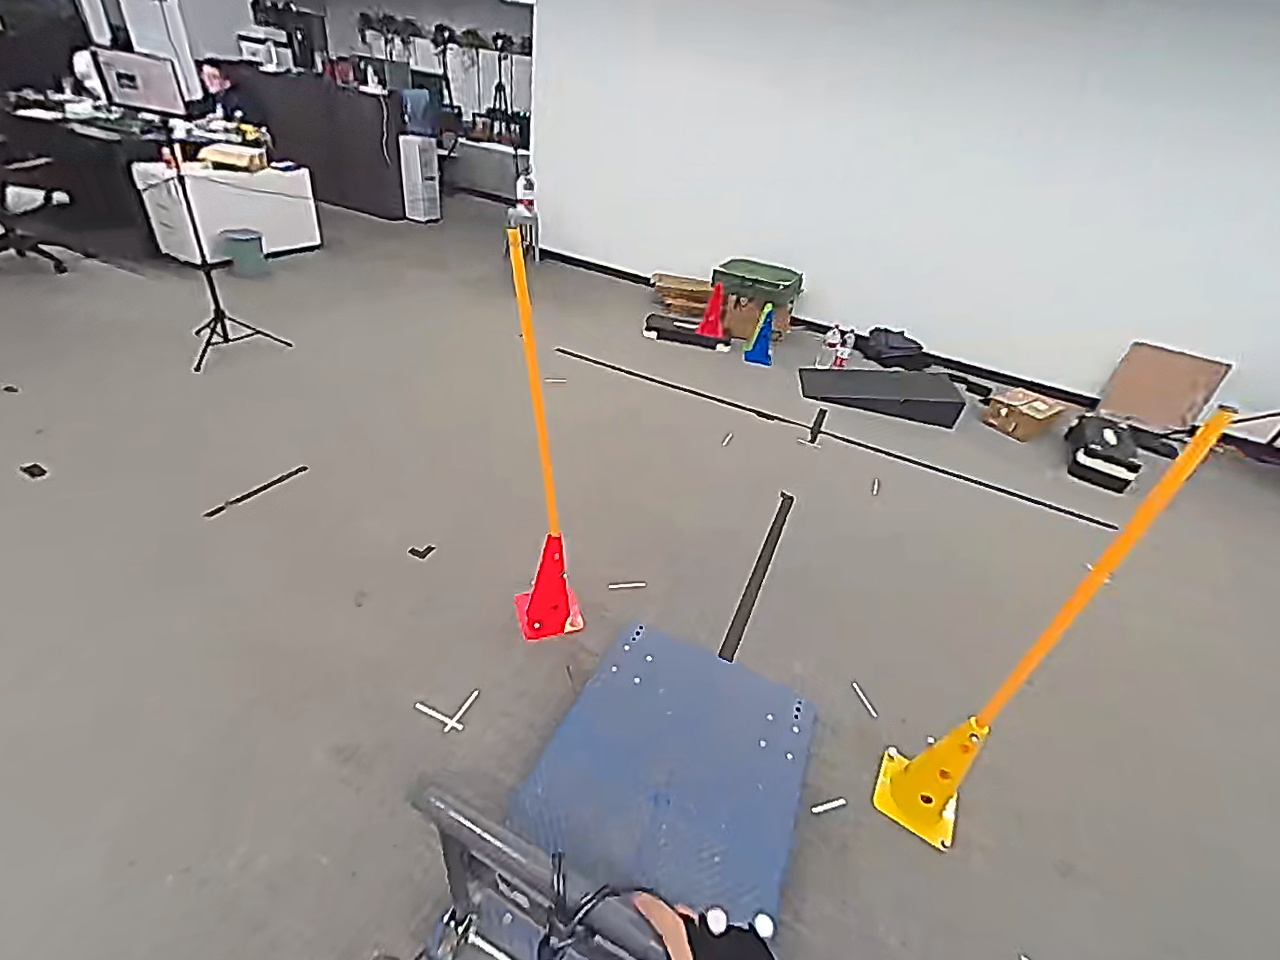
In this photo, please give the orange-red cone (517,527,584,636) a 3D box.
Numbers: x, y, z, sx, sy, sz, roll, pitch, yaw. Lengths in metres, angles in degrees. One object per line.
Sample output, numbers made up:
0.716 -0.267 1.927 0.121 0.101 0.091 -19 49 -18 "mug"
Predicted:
-0.271 0.293 1.708 0.199 0.360 0.198 -5 38 -23 "orange-red cone"
